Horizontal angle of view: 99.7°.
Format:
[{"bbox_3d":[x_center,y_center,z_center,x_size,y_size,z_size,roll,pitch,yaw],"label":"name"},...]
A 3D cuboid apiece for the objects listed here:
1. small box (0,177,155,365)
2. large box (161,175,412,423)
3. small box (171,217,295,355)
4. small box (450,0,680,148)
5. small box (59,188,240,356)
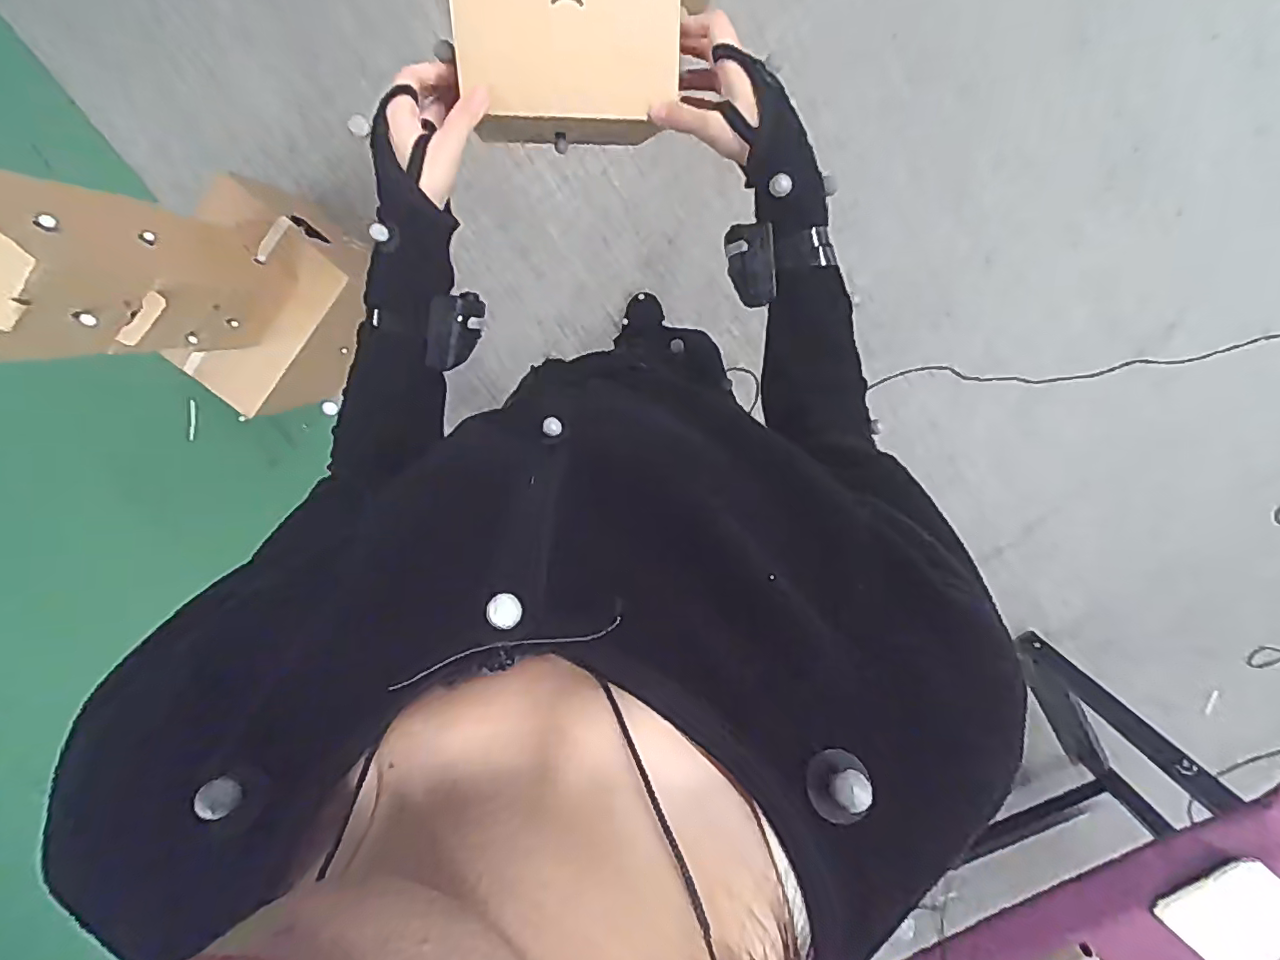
[{"bbox_3d":[-0.813,-0.278,0.710,0.168,0.176,0.179,-43,103,11],"label":"small box"},{"bbox_3d":[-0.824,-0.407,1.269,0.320,0.320,0.408,41,104,-9],"label":"large box"},{"bbox_3d":[-0.809,-0.360,1.028,0.179,0.176,0.168,-44,102,11],"label":"small box"},{"bbox_3d":[-0.063,-0.387,0.448,0.168,0.176,0.179,-4,115,-10],"label":"small box"},{"bbox_3d":[-0.807,-0.324,0.868,0.168,0.176,0.179,-42,102,11],"label":"small box"}]
